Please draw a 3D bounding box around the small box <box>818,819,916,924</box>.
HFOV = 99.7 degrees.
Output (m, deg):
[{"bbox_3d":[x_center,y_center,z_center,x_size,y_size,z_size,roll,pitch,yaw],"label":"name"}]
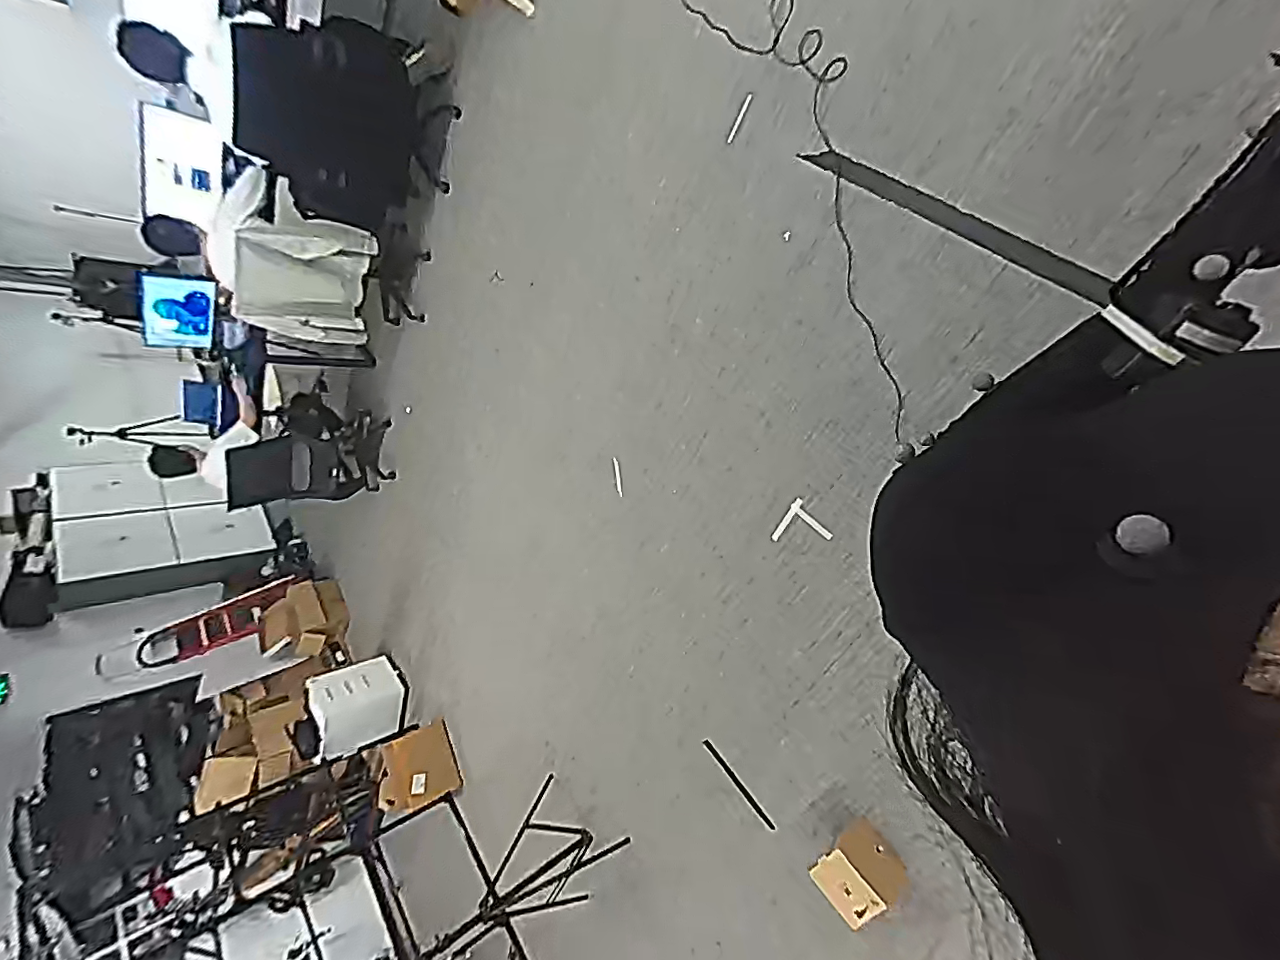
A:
[{"bbox_3d":[0.675,1.150,1.607,0.179,0.176,0.168,46,126,31],"label":"small box"}]
